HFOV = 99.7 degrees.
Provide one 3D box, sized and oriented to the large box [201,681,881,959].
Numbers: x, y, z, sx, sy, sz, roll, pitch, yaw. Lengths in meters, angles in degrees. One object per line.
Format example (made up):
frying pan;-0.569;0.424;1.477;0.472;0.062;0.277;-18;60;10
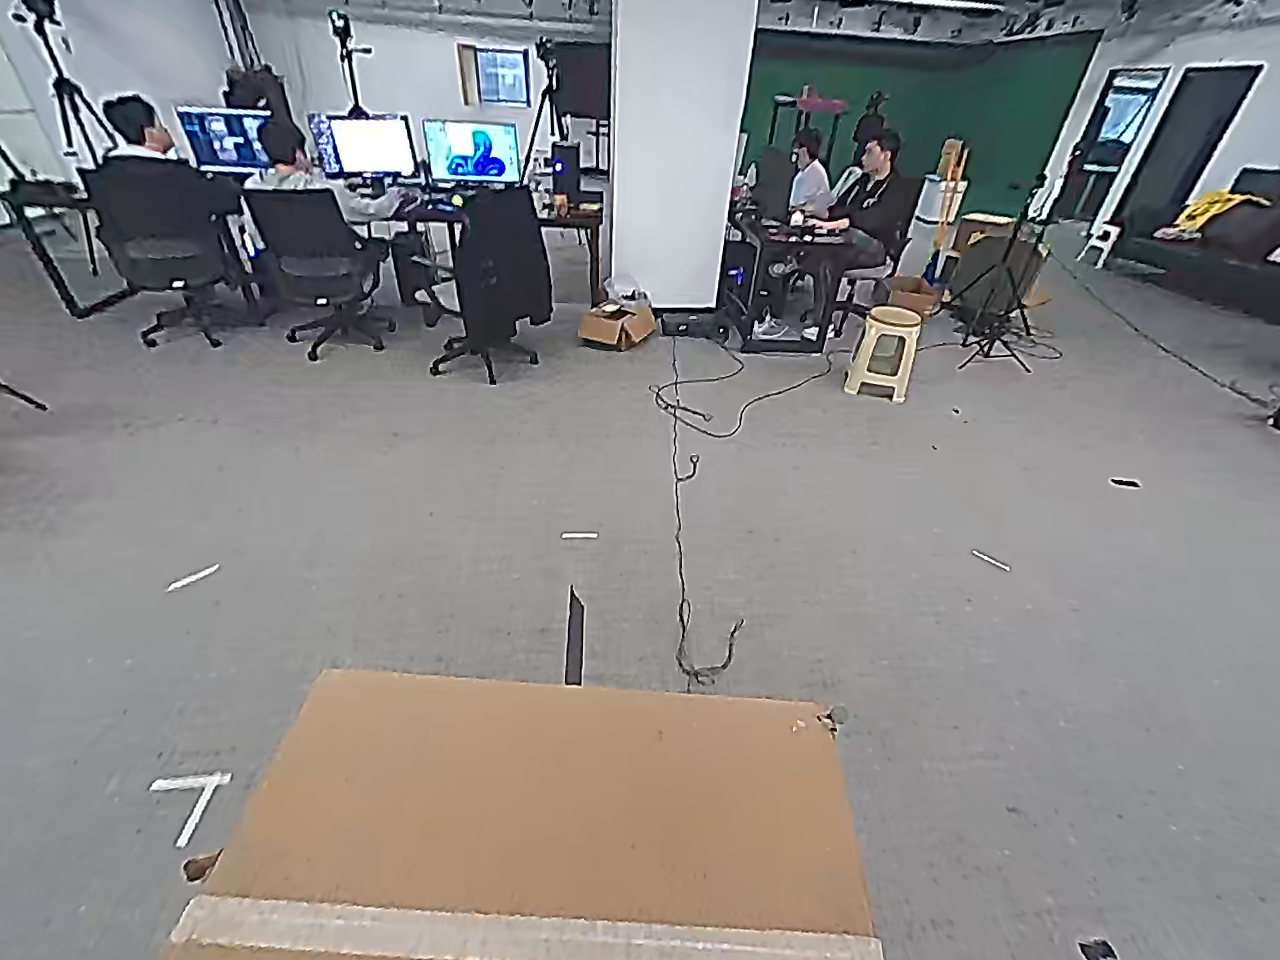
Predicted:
large box;-0.062;0.386;0.422;0.408;0.320;0.320;5;42;-1
